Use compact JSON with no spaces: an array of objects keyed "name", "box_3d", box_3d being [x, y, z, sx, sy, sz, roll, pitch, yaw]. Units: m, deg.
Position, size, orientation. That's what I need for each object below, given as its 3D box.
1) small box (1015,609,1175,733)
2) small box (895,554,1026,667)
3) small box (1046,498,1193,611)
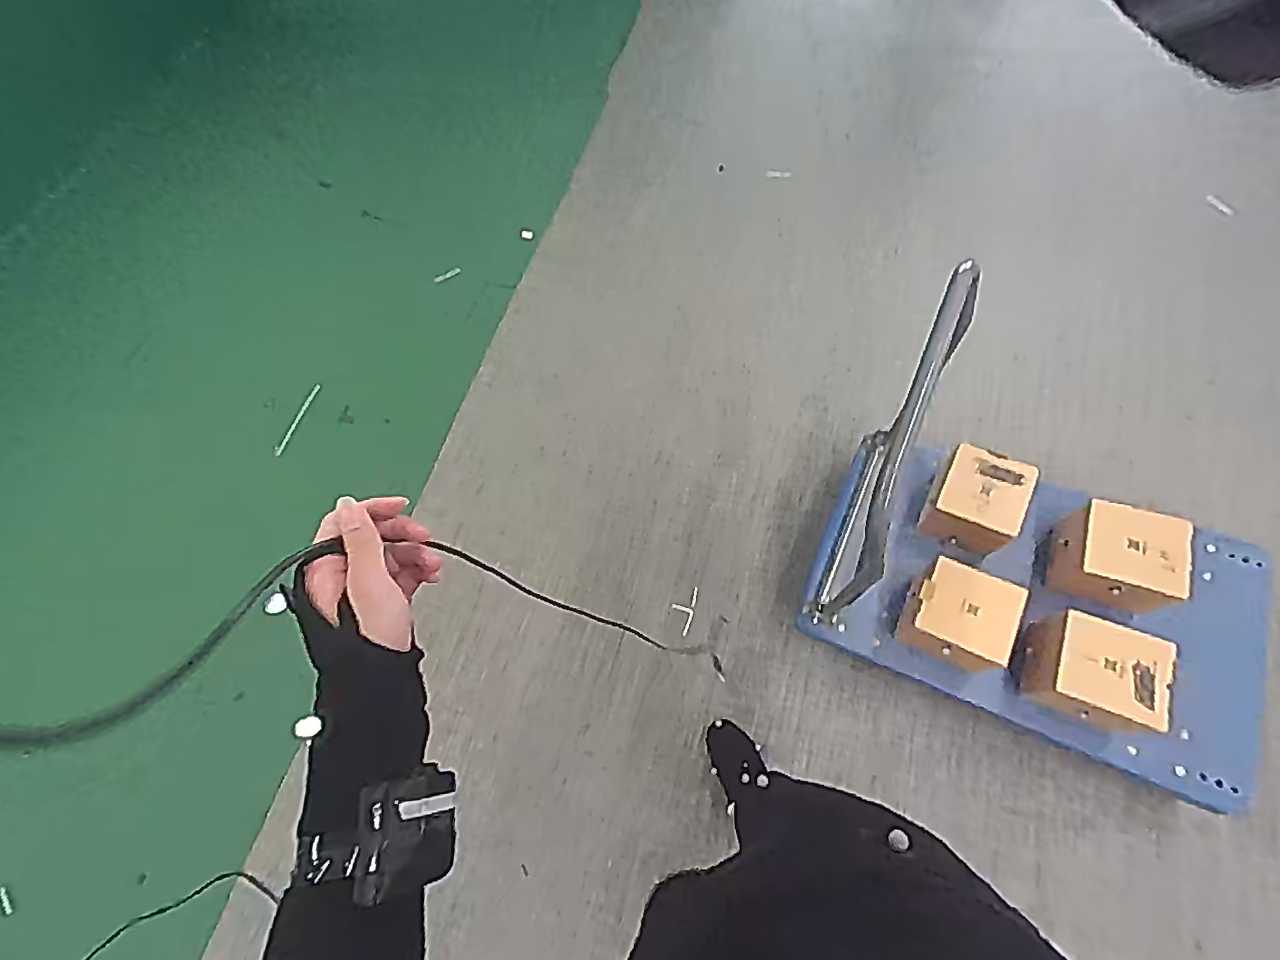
[{"name":"small box","box_3d":[0.892,0.379,1.073,0.179,0.176,0.168,20,71,20]},{"name":"small box","box_3d":[0.677,0.286,1.161,0.179,0.176,0.168,23,73,21]},{"name":"small box","box_3d":[1.005,0.164,1.148,0.179,0.176,0.168,18,72,18]}]
